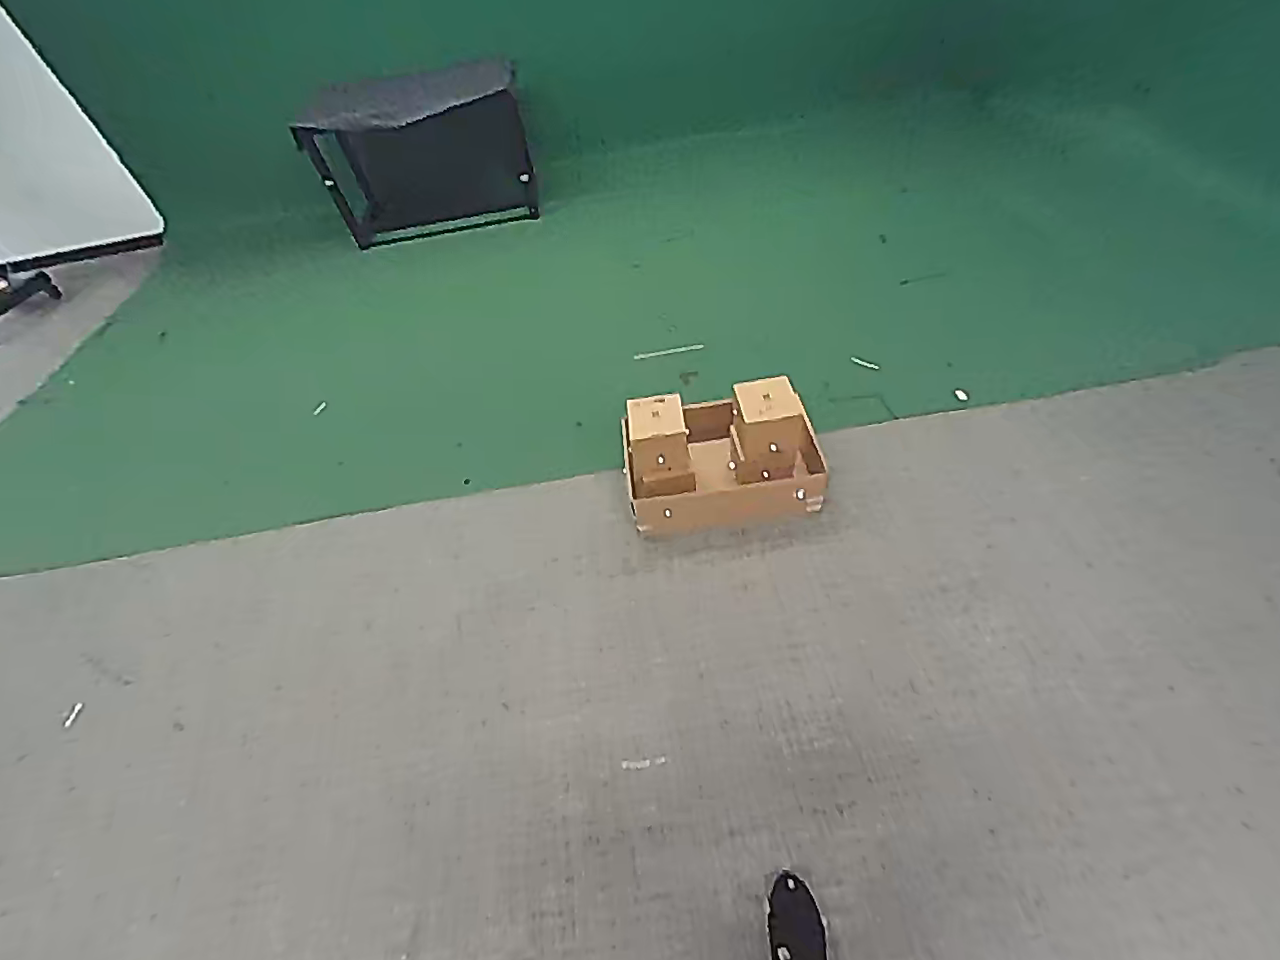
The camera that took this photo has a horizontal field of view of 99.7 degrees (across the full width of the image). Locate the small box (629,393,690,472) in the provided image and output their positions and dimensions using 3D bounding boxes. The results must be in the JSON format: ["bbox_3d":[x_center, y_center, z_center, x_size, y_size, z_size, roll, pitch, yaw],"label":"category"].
[{"bbox_3d":[0.061,-0.137,1.649,0.168,0.176,0.179,-7,50,3],"label":"small box"}]

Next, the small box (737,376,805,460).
[{"bbox_3d":[0.388,-0.187,1.636,0.168,0.176,0.179,-10,50,3],"label":"small box"}]
